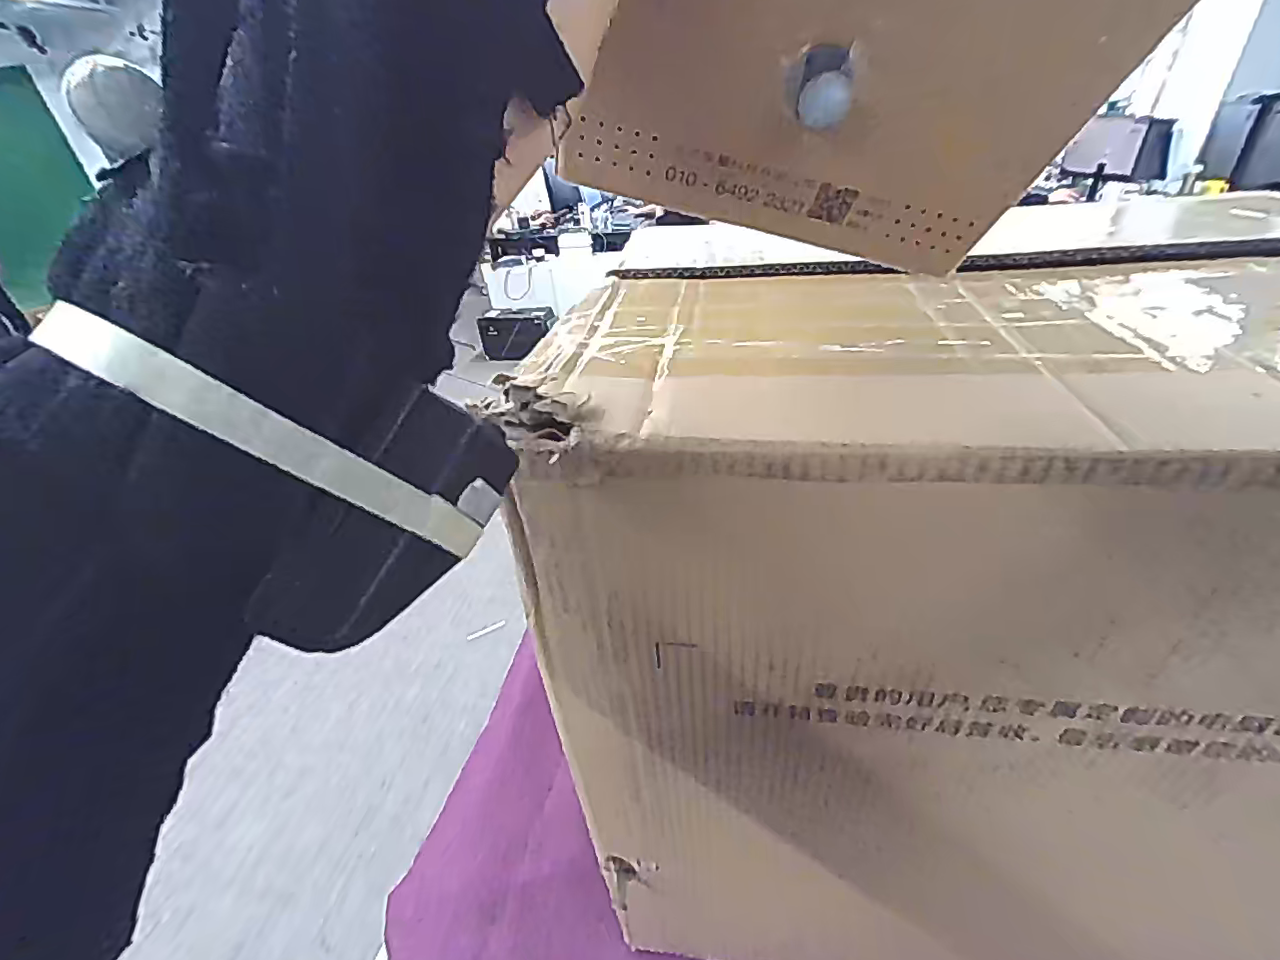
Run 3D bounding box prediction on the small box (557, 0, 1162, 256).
[{"bbox_3d":[0.069,-0.212,0.175,0.168,0.176,0.179,11,64,-5],"label":"small box"}]
